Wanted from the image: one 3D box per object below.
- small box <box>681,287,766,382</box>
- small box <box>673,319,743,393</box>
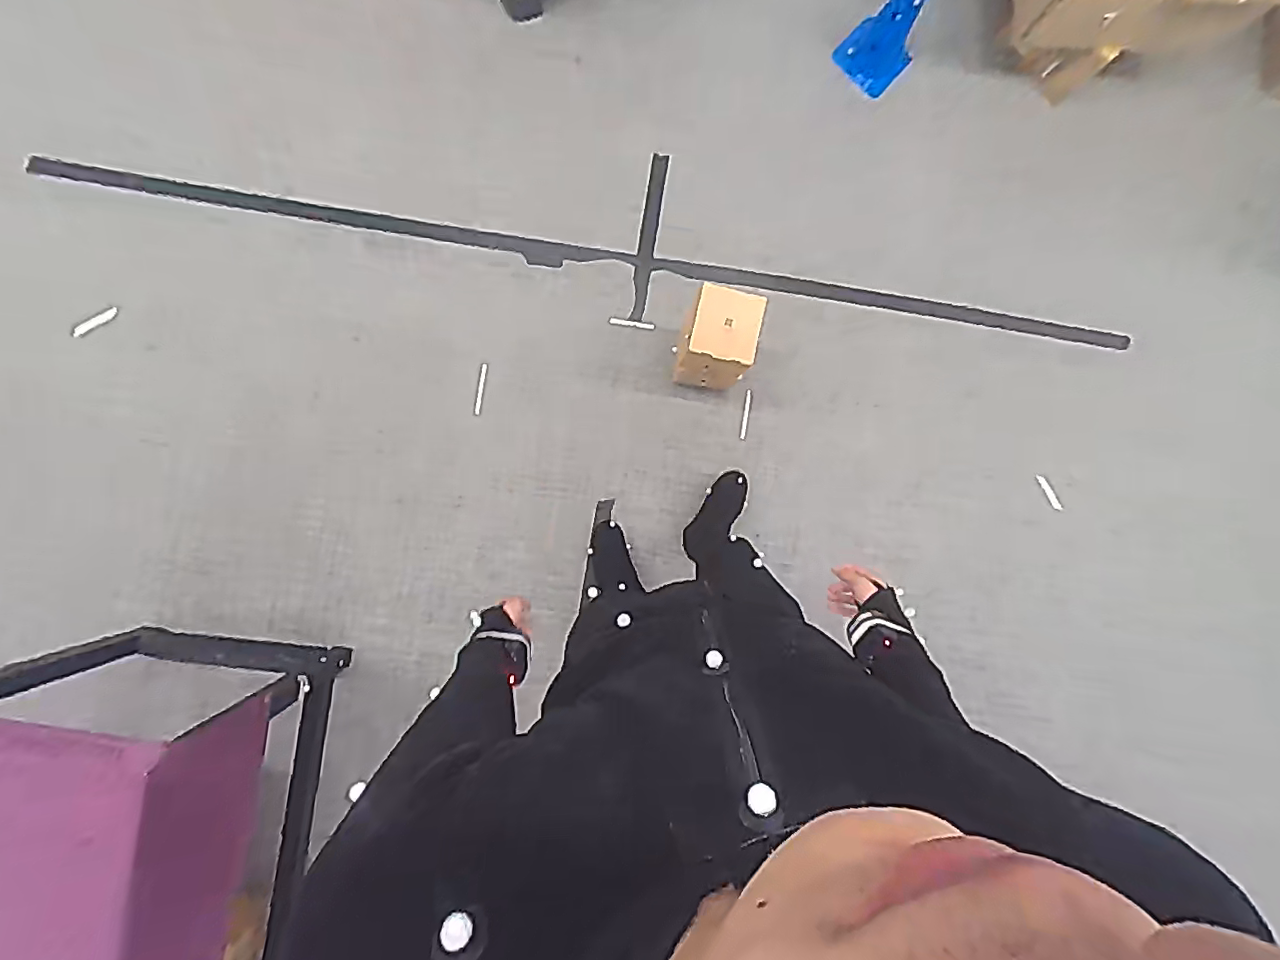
[{"bbox_3d":[0.211,-0.373,1.415,0.168,0.176,0.179,12,88,-4],"label":"small box"},{"bbox_3d":[0.202,-0.357,1.577,0.179,0.176,0.168,7,88,-4],"label":"small box"}]
